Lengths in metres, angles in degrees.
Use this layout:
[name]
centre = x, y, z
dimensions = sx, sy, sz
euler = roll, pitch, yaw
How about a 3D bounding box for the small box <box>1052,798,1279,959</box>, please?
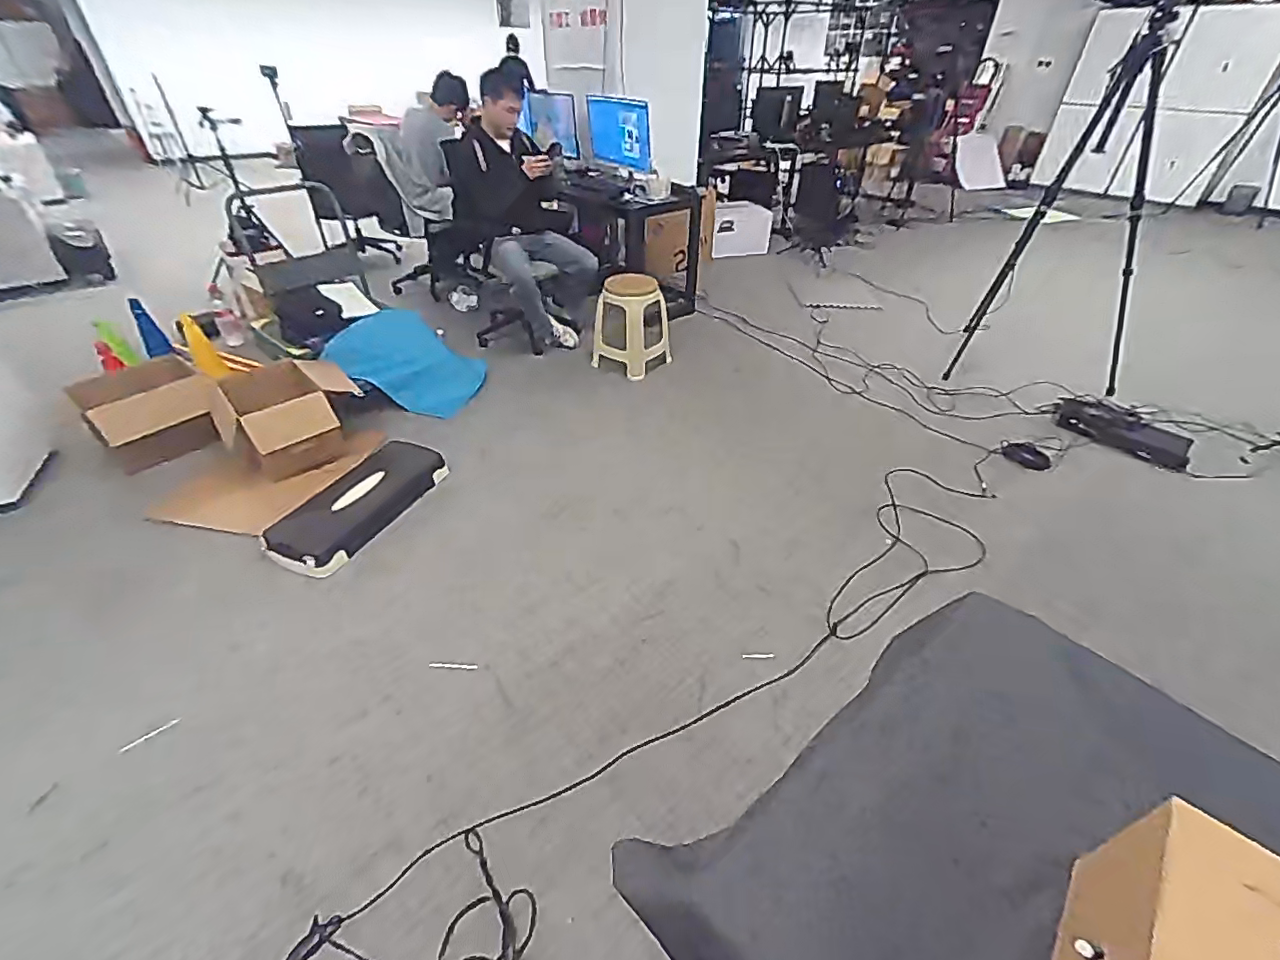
[small box]
centre = 0.457, 0.407, 0.421
dimensions = 0.168, 0.176, 0.179
euler = 30, 46, 31
